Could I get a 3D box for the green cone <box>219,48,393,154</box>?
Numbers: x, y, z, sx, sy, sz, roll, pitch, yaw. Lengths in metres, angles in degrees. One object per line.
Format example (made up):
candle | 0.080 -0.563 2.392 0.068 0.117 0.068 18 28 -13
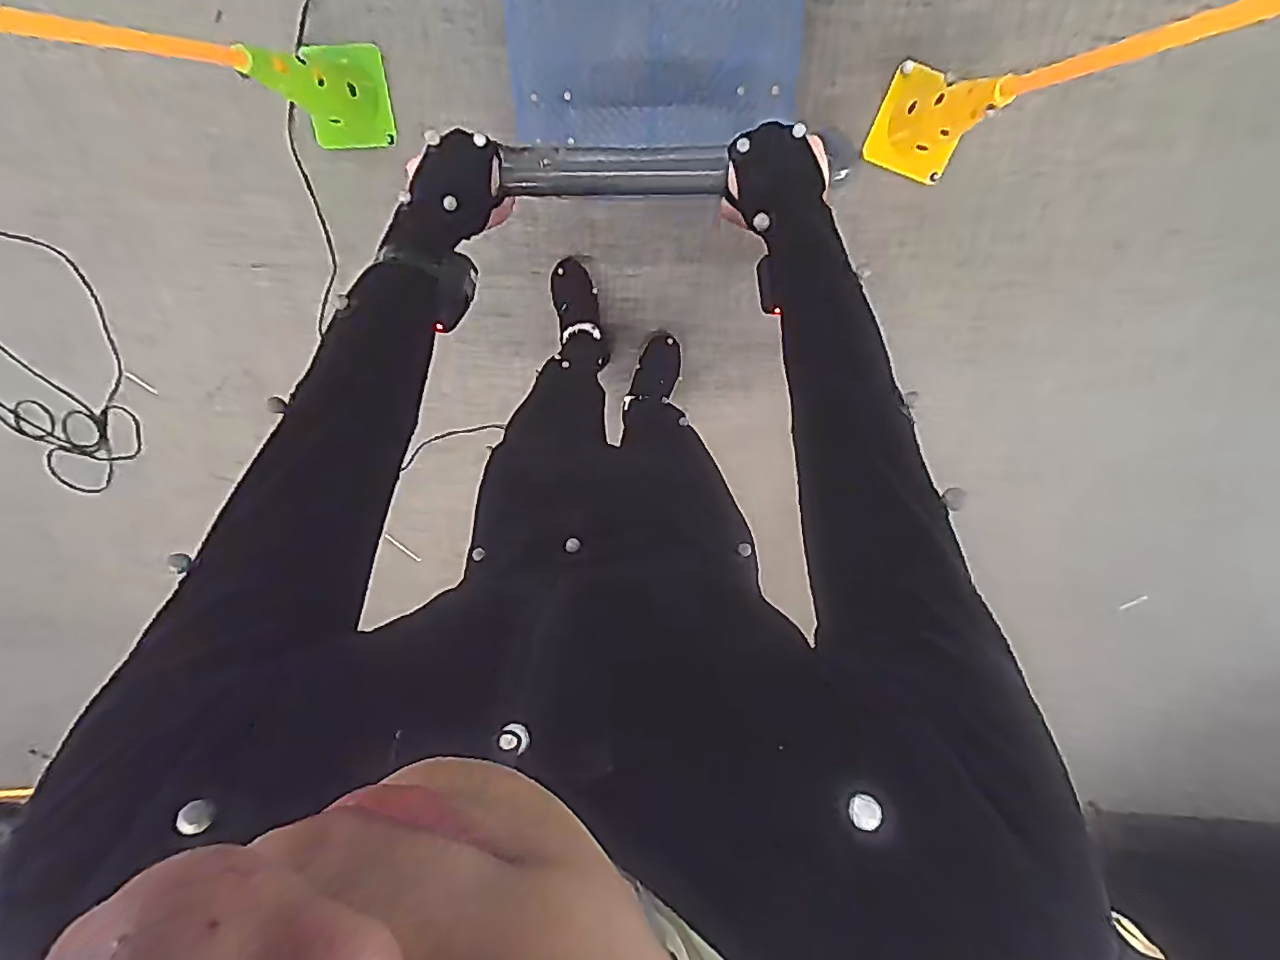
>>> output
green cone | -0.706 -0.816 1.116 0.202 0.368 0.200 0 115 6
